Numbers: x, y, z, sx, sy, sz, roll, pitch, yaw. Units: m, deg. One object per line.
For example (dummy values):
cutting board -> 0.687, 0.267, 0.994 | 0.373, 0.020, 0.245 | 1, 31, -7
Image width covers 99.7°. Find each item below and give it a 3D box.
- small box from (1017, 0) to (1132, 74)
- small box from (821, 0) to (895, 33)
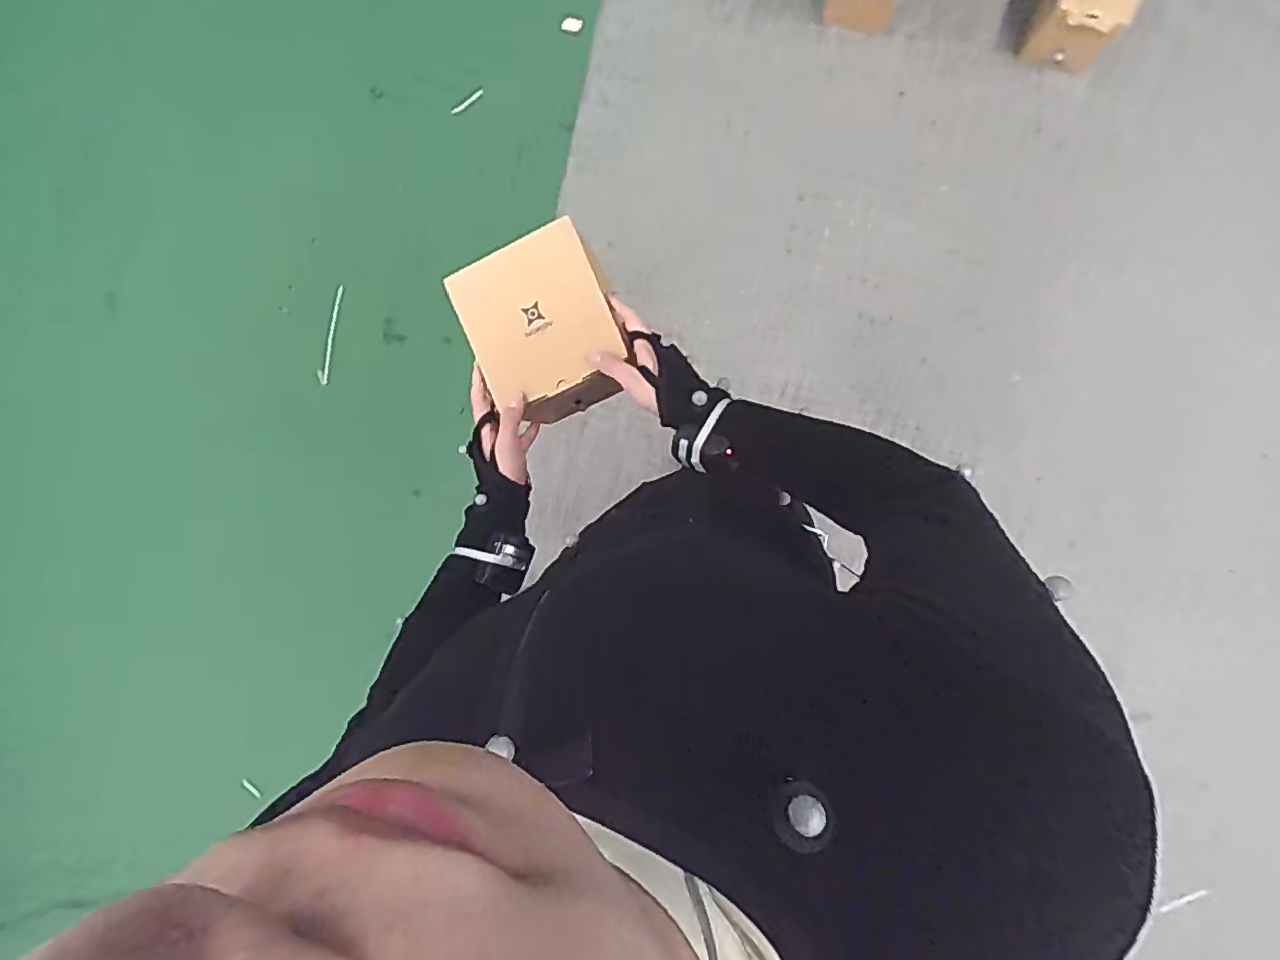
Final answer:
small box -> 1.067, -1.150, 1.313 | 0.168, 0.176, 0.179 | 26, 99, 6
small box -> 0.578, -1.287, 1.366 | 0.179, 0.176, 0.168 | 19, 98, 5
